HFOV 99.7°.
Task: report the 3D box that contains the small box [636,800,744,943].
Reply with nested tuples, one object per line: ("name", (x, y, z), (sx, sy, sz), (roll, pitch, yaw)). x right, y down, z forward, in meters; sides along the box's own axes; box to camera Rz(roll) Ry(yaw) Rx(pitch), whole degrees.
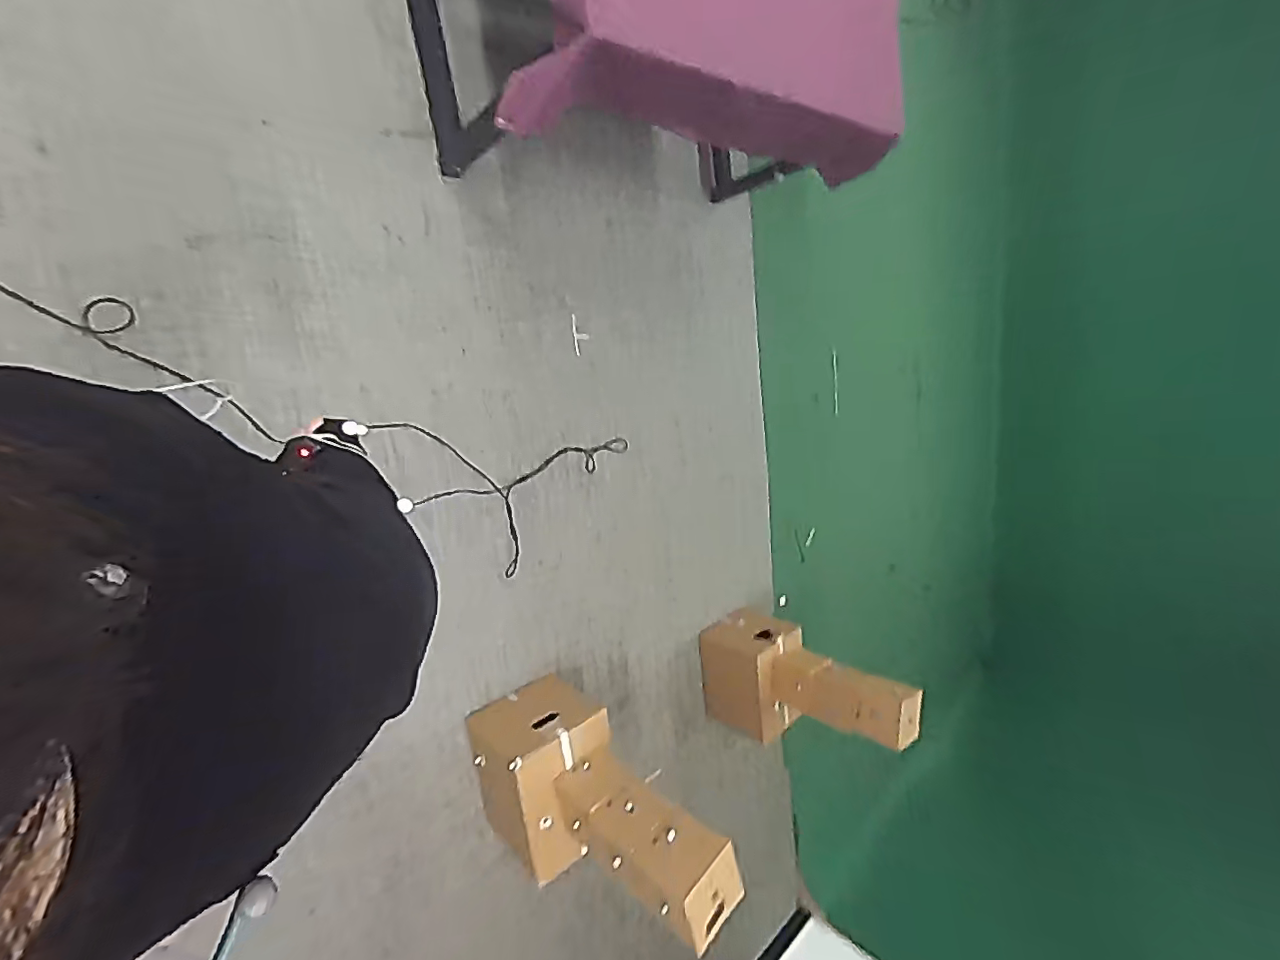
("small box", (0.116, 0.904, 1.267), (0.168, 0.176, 0.179), (-29, 112, -37))

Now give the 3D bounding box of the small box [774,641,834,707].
("small box", (0.652, 0.768, 2.156), (0.168, 0.176, 0.179), (-3, 96, -41))

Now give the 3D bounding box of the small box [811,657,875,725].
("small box", (0.764, 0.788, 2.040), (0.168, 0.176, 0.179), (1, 93, -42))

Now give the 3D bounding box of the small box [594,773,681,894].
("small box", (0.005, 0.890, 1.389), (0.168, 0.176, 0.179), (-28, 111, -37))

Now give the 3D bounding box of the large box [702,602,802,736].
("large box", (0.494, 0.800, 2.345), (0.320, 0.320, 0.408), (-17, 107, -39))

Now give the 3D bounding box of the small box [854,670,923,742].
("small box", (0.880, 0.795, 1.922), (0.179, 0.176, 0.168), (2, 93, -42))
